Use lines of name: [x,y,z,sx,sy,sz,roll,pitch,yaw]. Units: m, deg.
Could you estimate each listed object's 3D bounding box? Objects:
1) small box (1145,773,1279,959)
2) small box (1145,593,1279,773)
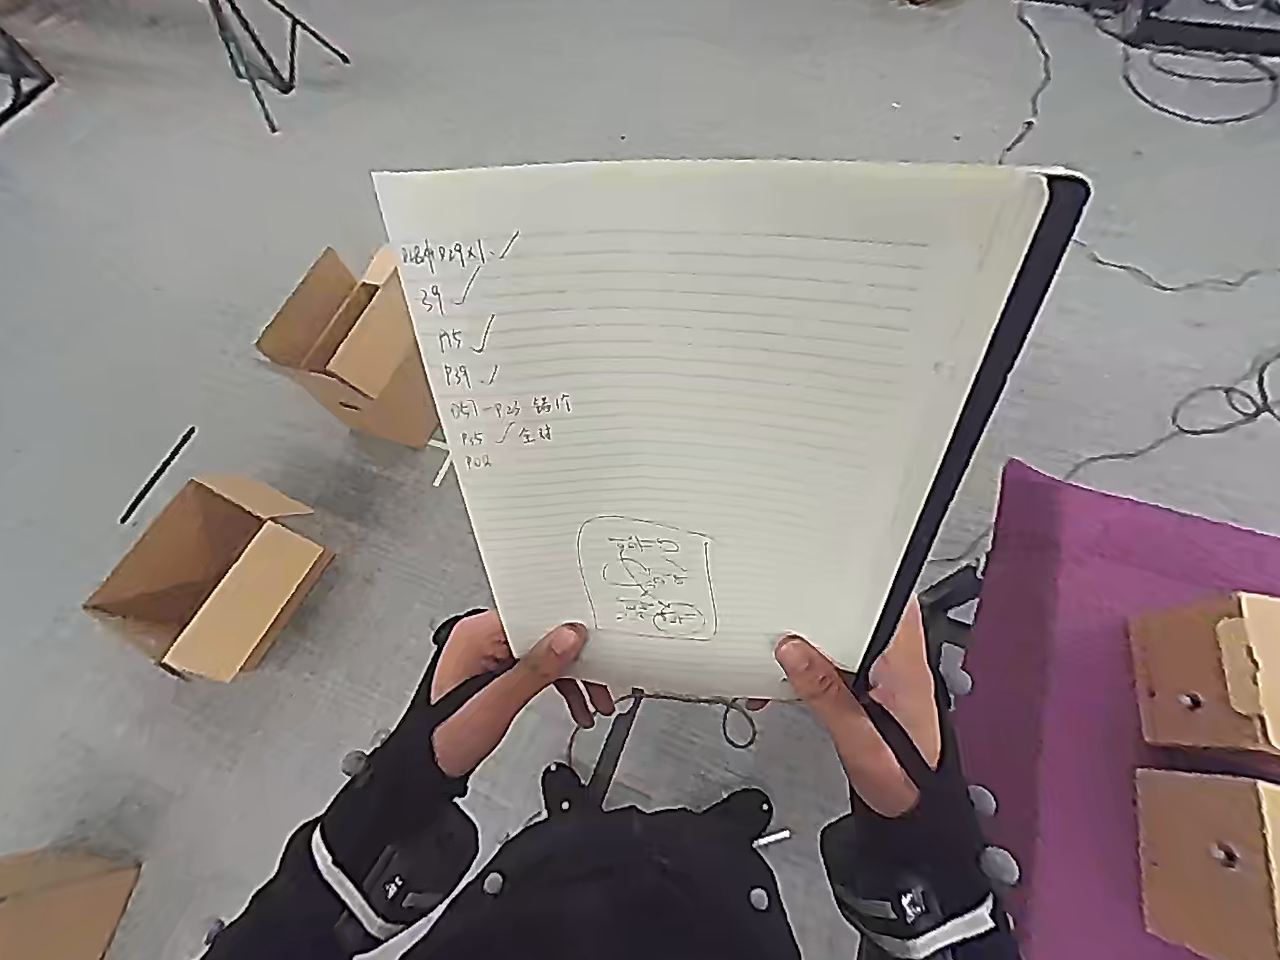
small box: [0.675,0.424,0.560,0.168,0.176,0.179,14,69,12]
small box: [0.745,0.247,0.635,0.179,0.176,0.168,11,68,10]
